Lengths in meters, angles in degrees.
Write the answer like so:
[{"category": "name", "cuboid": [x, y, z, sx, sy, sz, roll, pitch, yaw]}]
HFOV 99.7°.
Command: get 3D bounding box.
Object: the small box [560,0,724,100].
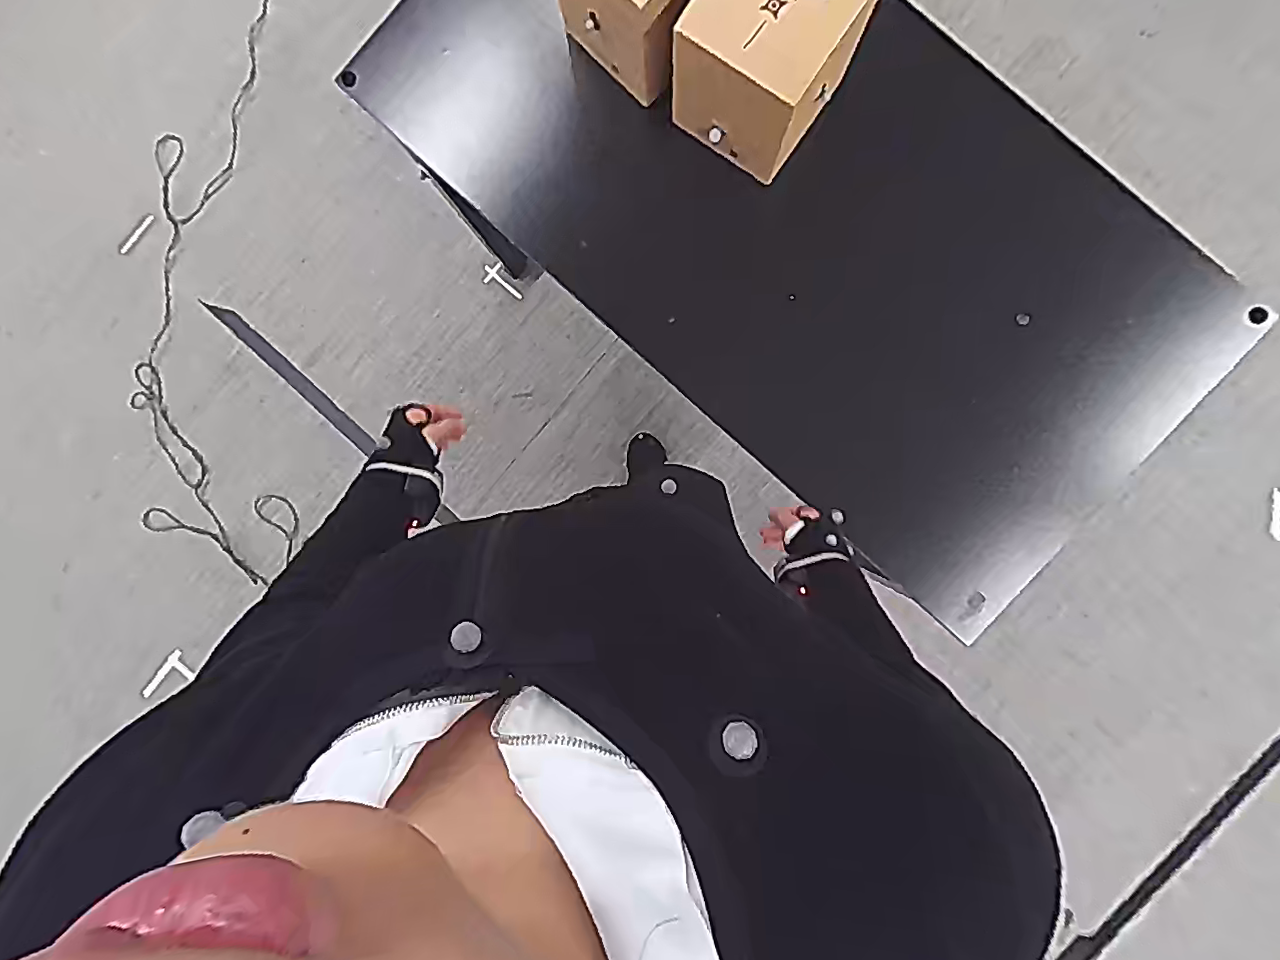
[{"category": "small box", "cuboid": [0.003, -0.640, 0.680, 0.168, 0.176, 0.179, 44, 92, 1]}]
